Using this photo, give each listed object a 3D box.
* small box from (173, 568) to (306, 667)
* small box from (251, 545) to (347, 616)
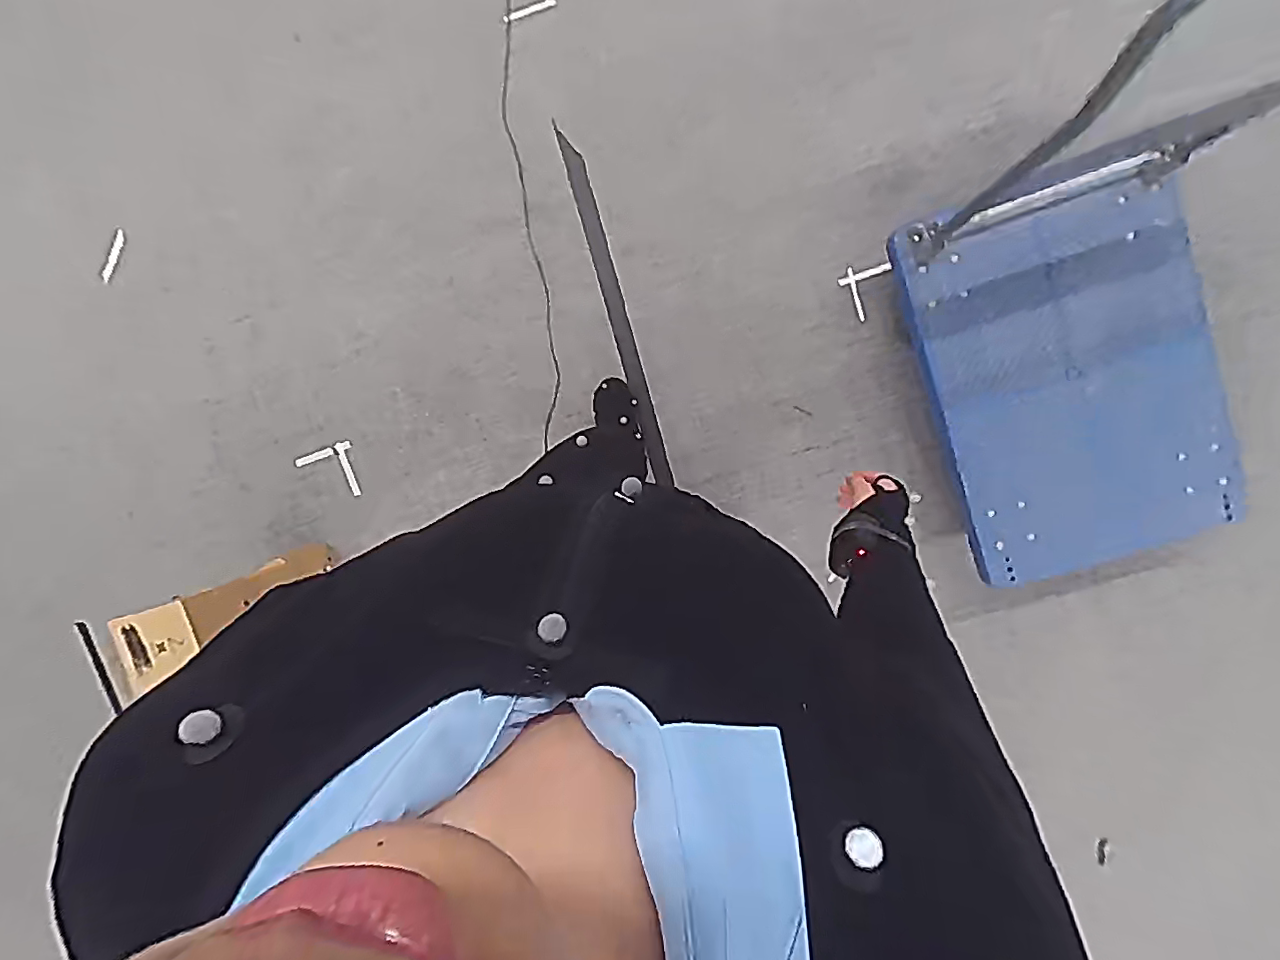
[{"bbox_3d":[-0.975,0.331,1.332,0.179,0.176,0.168,-16,96,5],"label":"small box"},{"bbox_3d":[-0.961,0.303,1.492,0.179,0.176,0.168,-28,95,6],"label":"small box"}]
